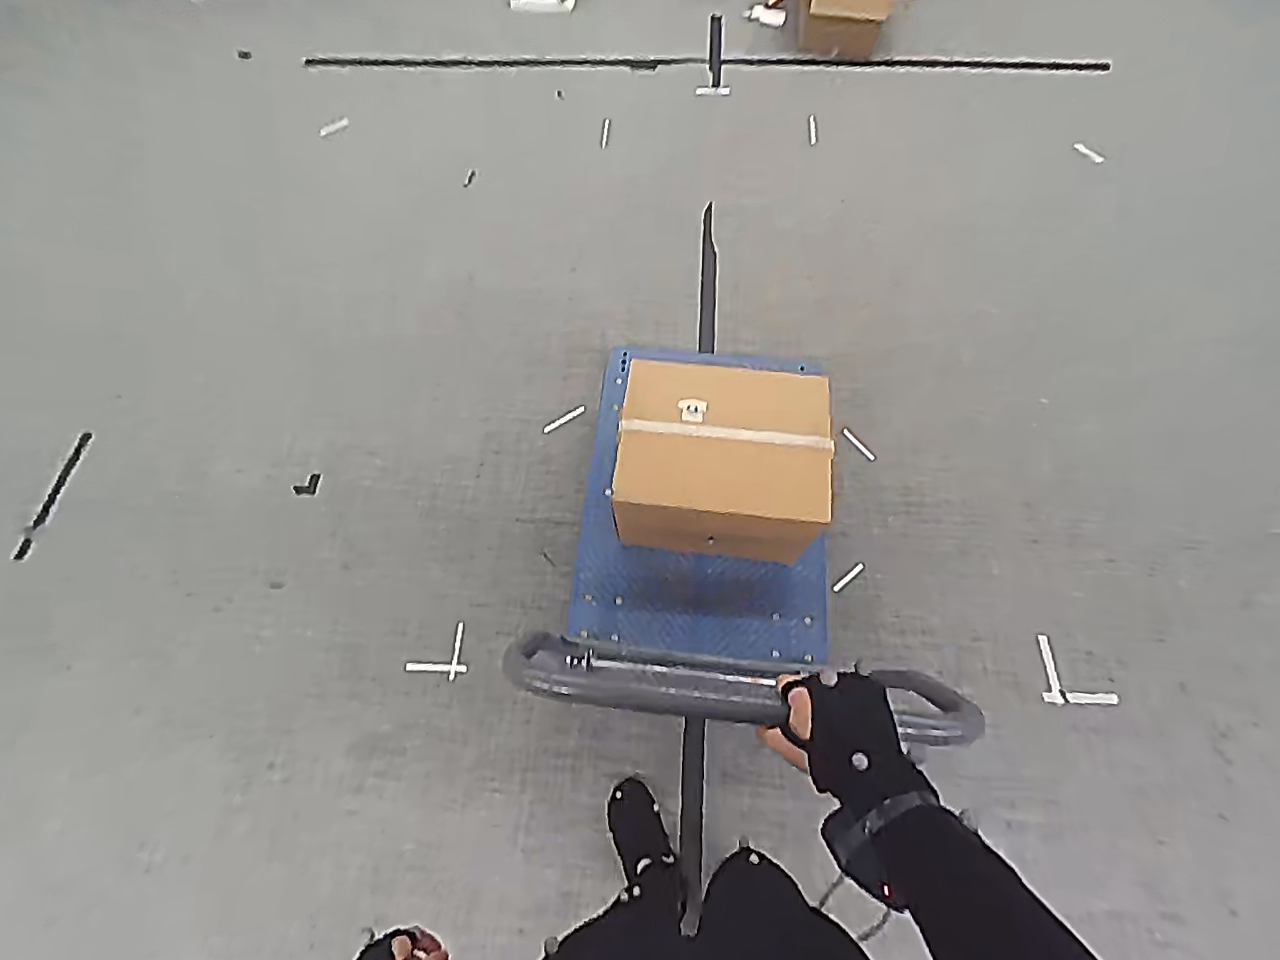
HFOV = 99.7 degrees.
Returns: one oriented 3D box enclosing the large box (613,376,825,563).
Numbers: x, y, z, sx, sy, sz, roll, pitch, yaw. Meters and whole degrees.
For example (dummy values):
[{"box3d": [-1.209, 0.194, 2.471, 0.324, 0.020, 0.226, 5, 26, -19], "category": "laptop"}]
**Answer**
[{"box3d": [0.167, -0.009, 1.206, 0.408, 0.320, 0.320, 5, 67, 5], "category": "large box"}]
